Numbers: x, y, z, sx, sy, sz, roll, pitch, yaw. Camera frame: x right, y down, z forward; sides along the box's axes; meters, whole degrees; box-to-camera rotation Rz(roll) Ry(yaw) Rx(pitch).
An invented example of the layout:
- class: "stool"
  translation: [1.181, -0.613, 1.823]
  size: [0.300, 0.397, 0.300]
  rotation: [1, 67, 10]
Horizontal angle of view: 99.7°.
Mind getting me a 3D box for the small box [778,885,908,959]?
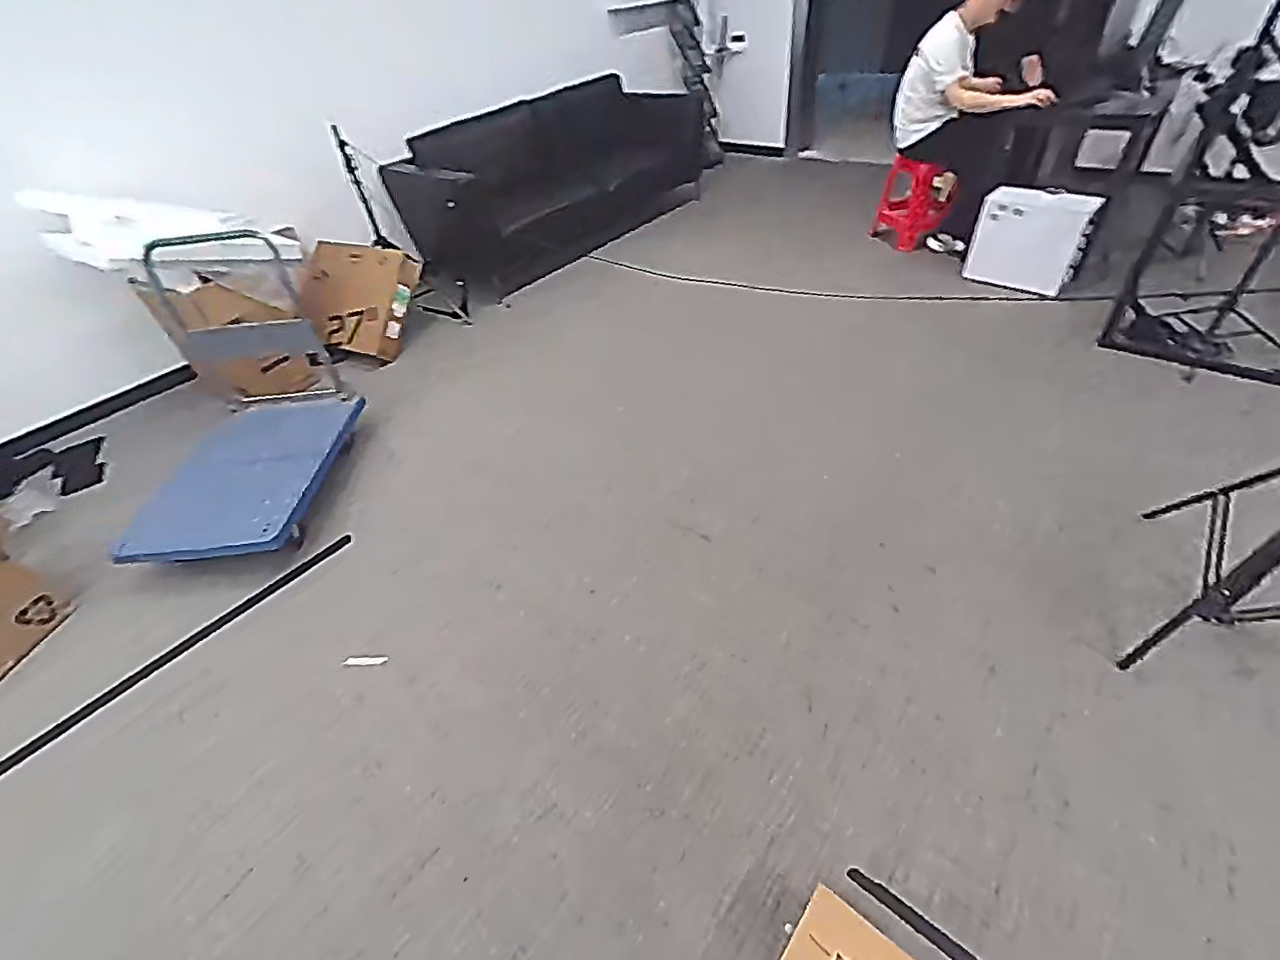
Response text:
- class: "small box"
  translation: [0.347, 0.868, 0.948]
  size: [0.179, 0.176, 0.168]
  rotation: [27, 53, 34]
